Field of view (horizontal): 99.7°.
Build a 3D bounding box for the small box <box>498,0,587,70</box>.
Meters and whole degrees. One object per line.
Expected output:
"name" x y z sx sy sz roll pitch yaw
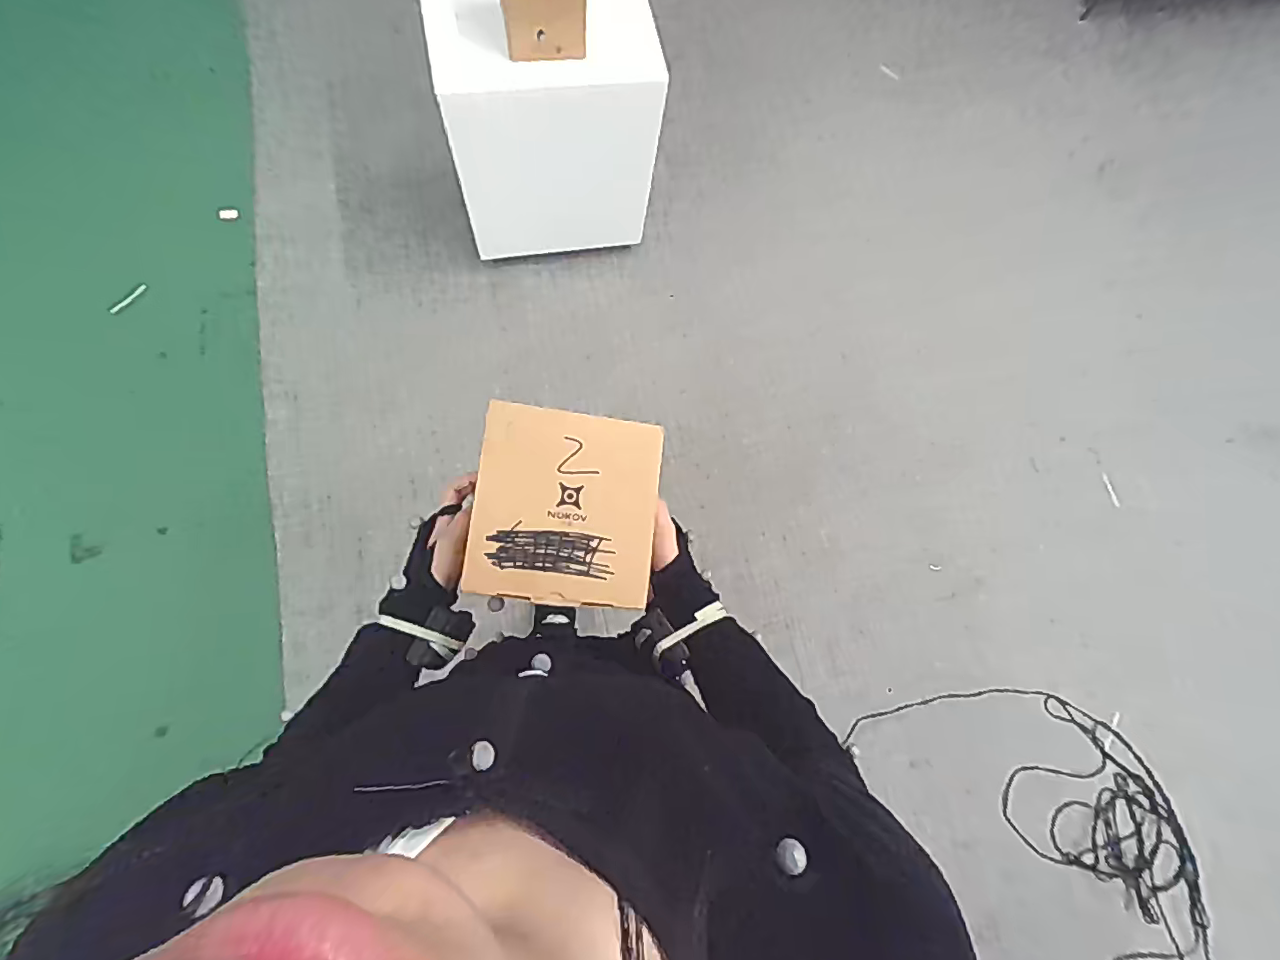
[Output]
"small box" -0.207 -0.996 1.118 0.168 0.176 0.179 -10 76 -9
